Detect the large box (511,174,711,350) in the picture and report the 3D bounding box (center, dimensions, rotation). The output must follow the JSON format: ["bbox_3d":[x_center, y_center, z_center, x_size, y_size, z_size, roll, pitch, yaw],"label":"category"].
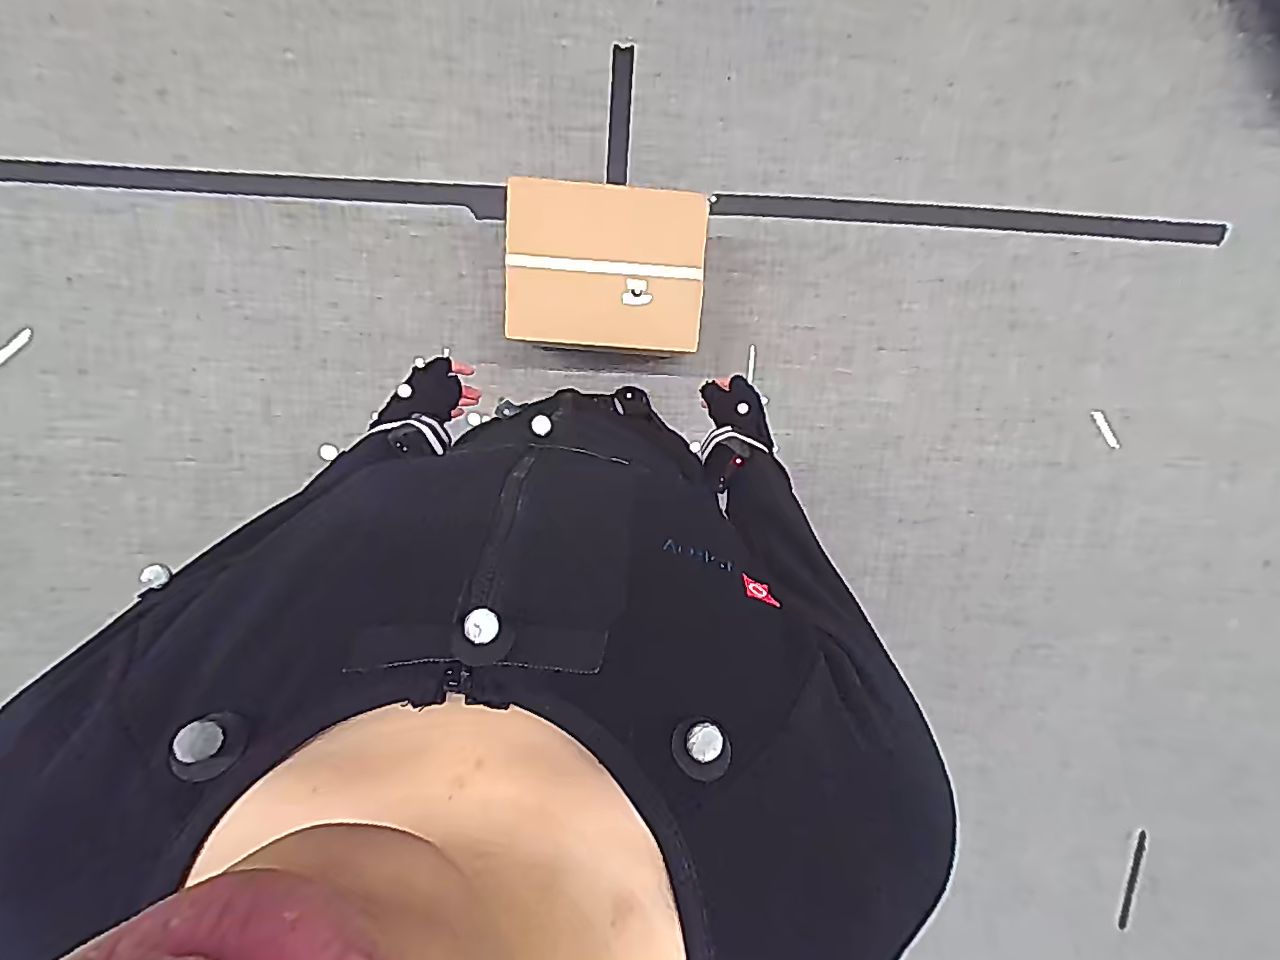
[{"bbox_3d":[-0.072,-0.473,1.249,0.408,0.320,0.320,3,102,-4],"label":"large box"}]
